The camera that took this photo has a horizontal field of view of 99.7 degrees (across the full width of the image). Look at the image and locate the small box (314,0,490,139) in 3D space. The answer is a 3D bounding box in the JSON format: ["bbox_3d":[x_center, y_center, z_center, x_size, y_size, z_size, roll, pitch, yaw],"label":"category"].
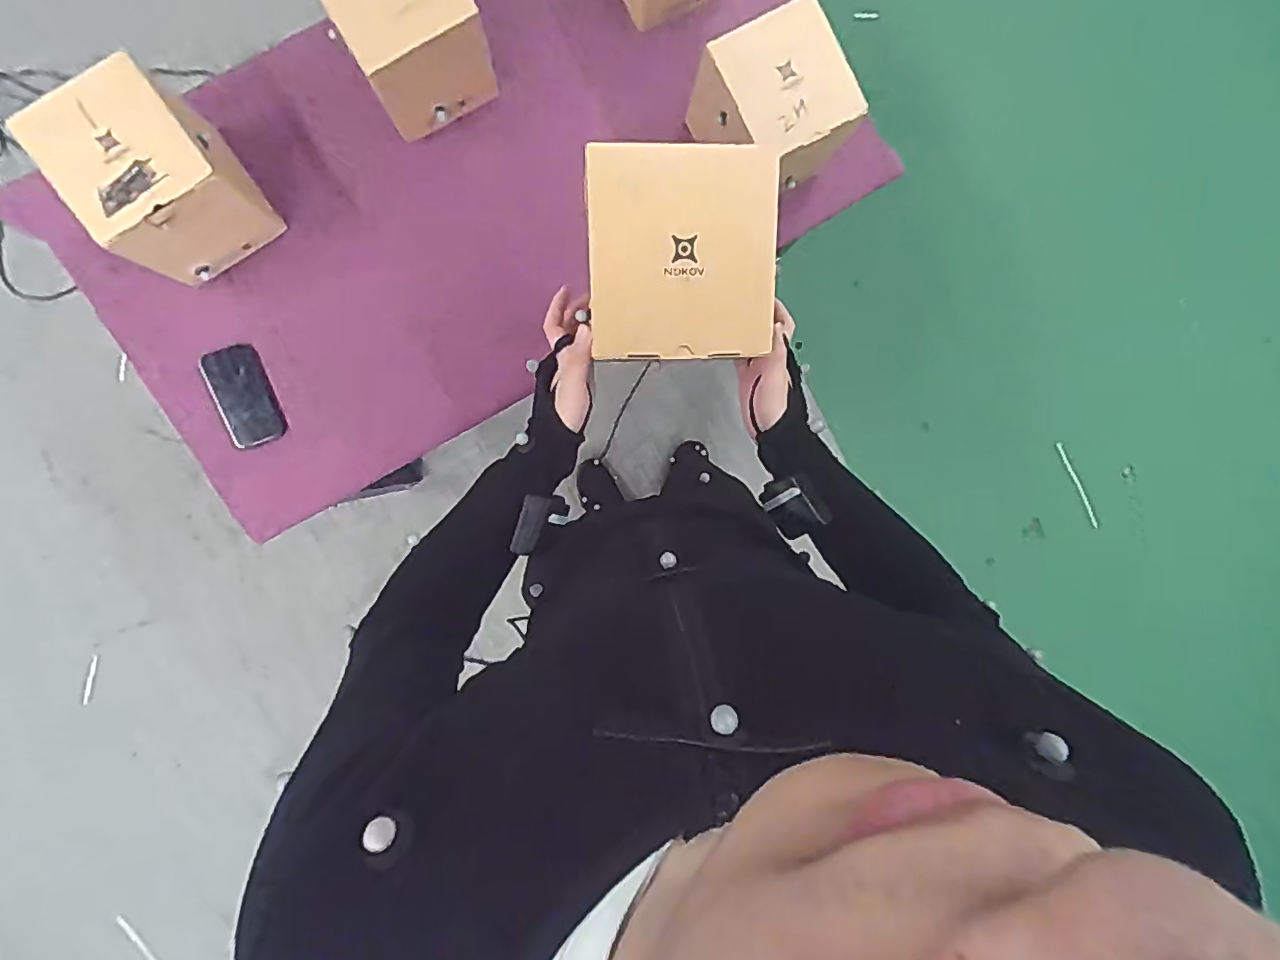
[{"bbox_3d":[-0.331,-0.624,0.742,0.168,0.176,0.179,-32,96,-2],"label":"small box"}]

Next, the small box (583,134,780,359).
[{"bbox_3d":[0.028,-0.211,0.535,0.168,0.176,0.179,-2,104,-5],"label":"small box"}]

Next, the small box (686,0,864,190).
[{"bbox_3d":[0.183,-0.539,0.791,0.168,0.176,0.179,-28,95,-2],"label":"small box"}]

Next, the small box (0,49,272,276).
[{"bbox_3d":[-0.647,-0.398,0.720,0.168,0.176,0.179,-35,95,-4],"label":"small box"}]

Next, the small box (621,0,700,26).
[{"bbox_3d":[0.031,-0.816,0.766,0.168,0.176,0.179,-28,95,-3],"label":"small box"}]
